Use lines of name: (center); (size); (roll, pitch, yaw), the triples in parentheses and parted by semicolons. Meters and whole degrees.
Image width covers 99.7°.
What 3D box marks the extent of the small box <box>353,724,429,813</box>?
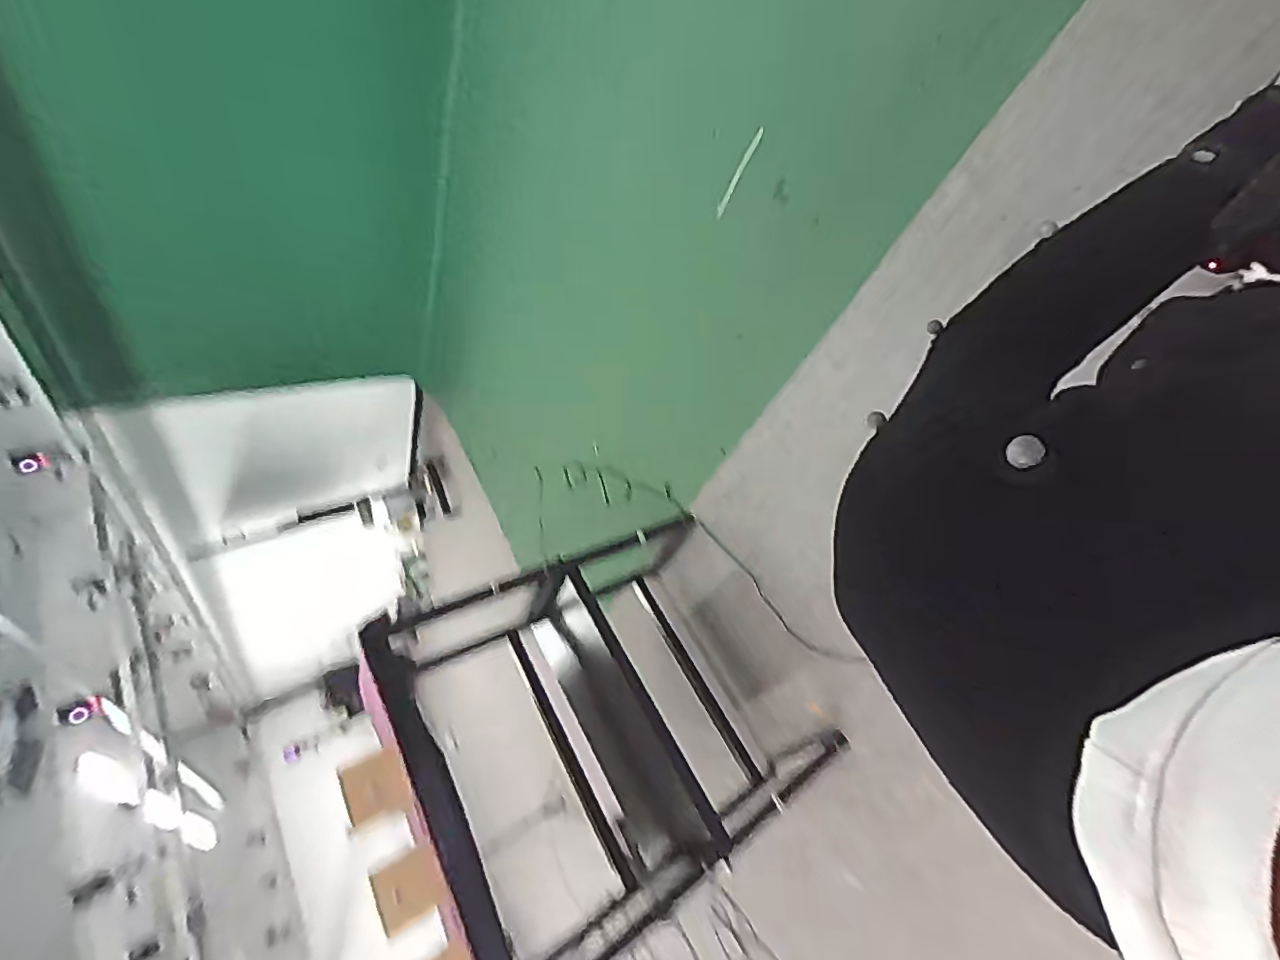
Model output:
small box: (-0.768, 0.892, 1.674); (0.179, 0.176, 0.168); (58, 143, 20)

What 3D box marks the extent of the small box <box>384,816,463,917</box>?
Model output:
small box: (-0.627, 1.113, 1.565); (0.179, 0.176, 0.168); (59, 144, 21)

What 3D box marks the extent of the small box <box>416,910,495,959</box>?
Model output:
small box: (-0.493, 1.314, 1.461); (0.179, 0.176, 0.168); (56, 143, 26)
